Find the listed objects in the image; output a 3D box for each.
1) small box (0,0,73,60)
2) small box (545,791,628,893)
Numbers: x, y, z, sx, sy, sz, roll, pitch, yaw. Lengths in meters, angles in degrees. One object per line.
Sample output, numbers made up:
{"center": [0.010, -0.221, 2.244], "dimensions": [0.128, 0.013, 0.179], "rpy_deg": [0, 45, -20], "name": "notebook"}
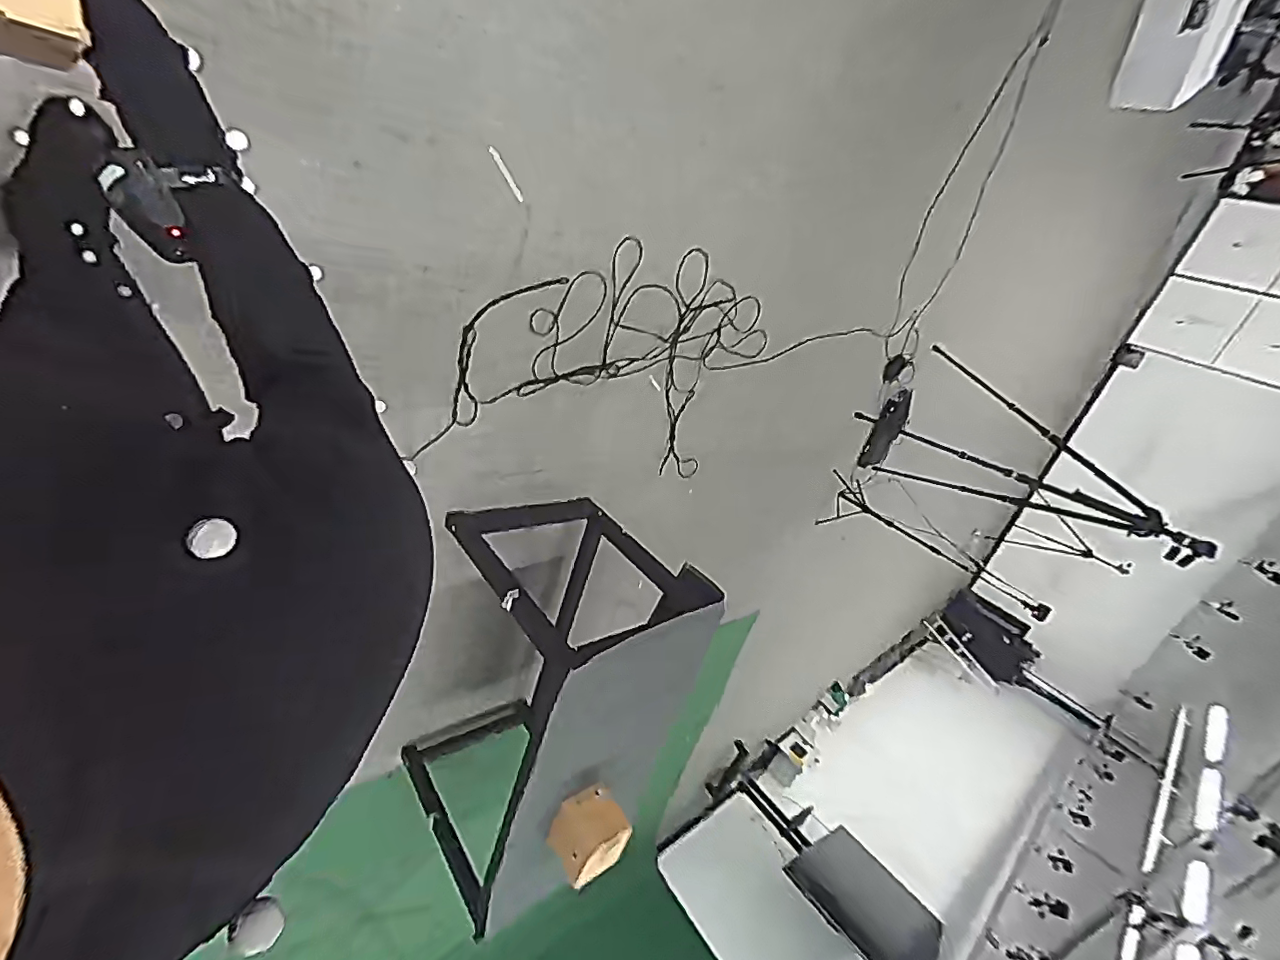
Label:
{"center": [-0.417, -0.349, 0.269], "dimensions": [0.168, 0.176, 0.179], "rpy_deg": [-10, 120, -44], "name": "small box"}
{"center": [-0.169, 1.090, 1.651], "dimensions": [0.168, 0.176, 0.179], "rpy_deg": [-3, 122, -44], "name": "small box"}
